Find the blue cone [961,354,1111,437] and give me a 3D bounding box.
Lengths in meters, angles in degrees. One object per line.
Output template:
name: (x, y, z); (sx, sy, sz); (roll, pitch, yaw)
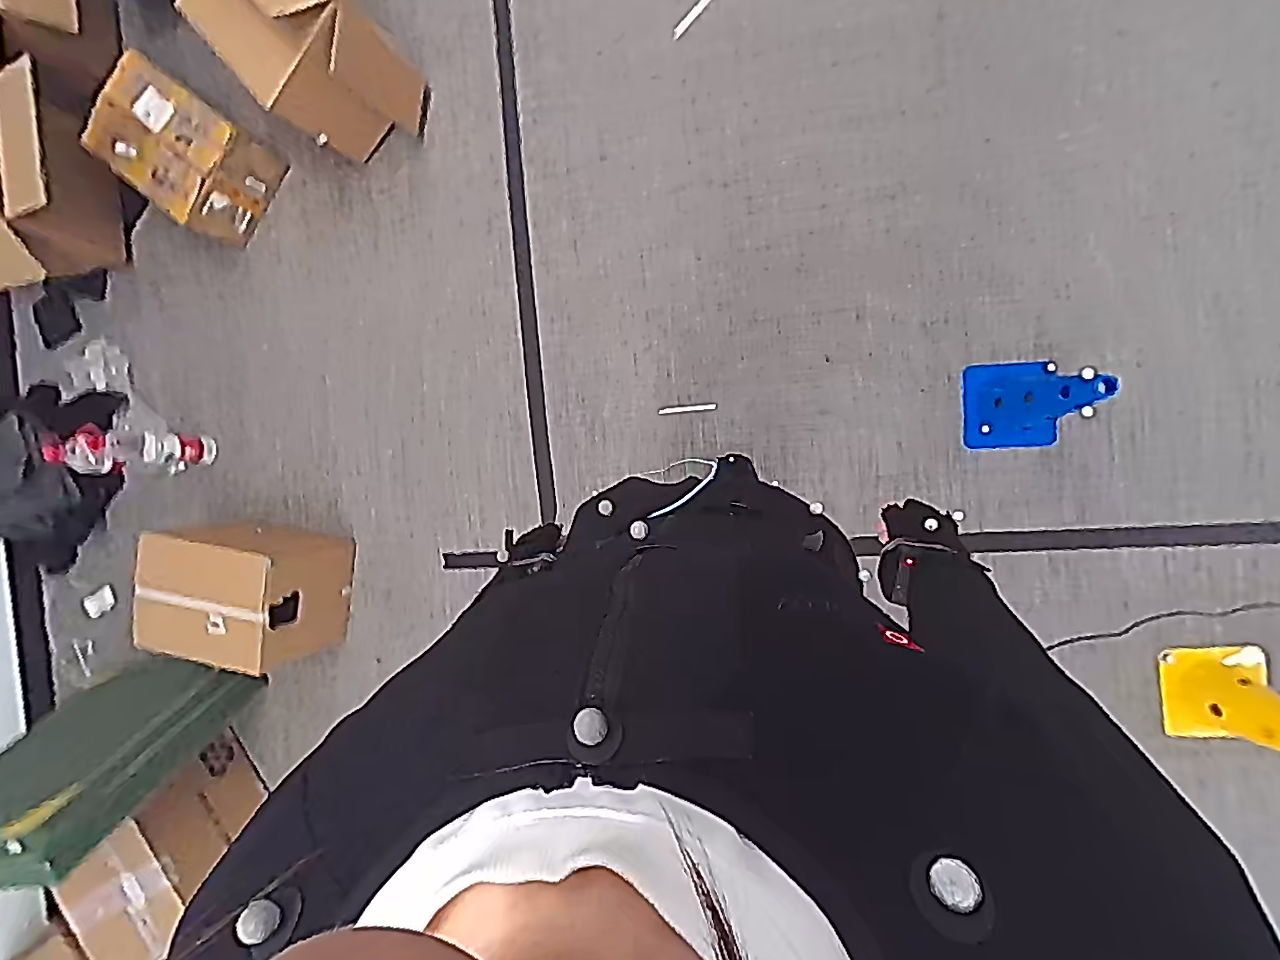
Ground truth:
blue cone: (0.832, -0.193, 1.115); (0.193, 0.380, 0.192); (0, 91, 11)
